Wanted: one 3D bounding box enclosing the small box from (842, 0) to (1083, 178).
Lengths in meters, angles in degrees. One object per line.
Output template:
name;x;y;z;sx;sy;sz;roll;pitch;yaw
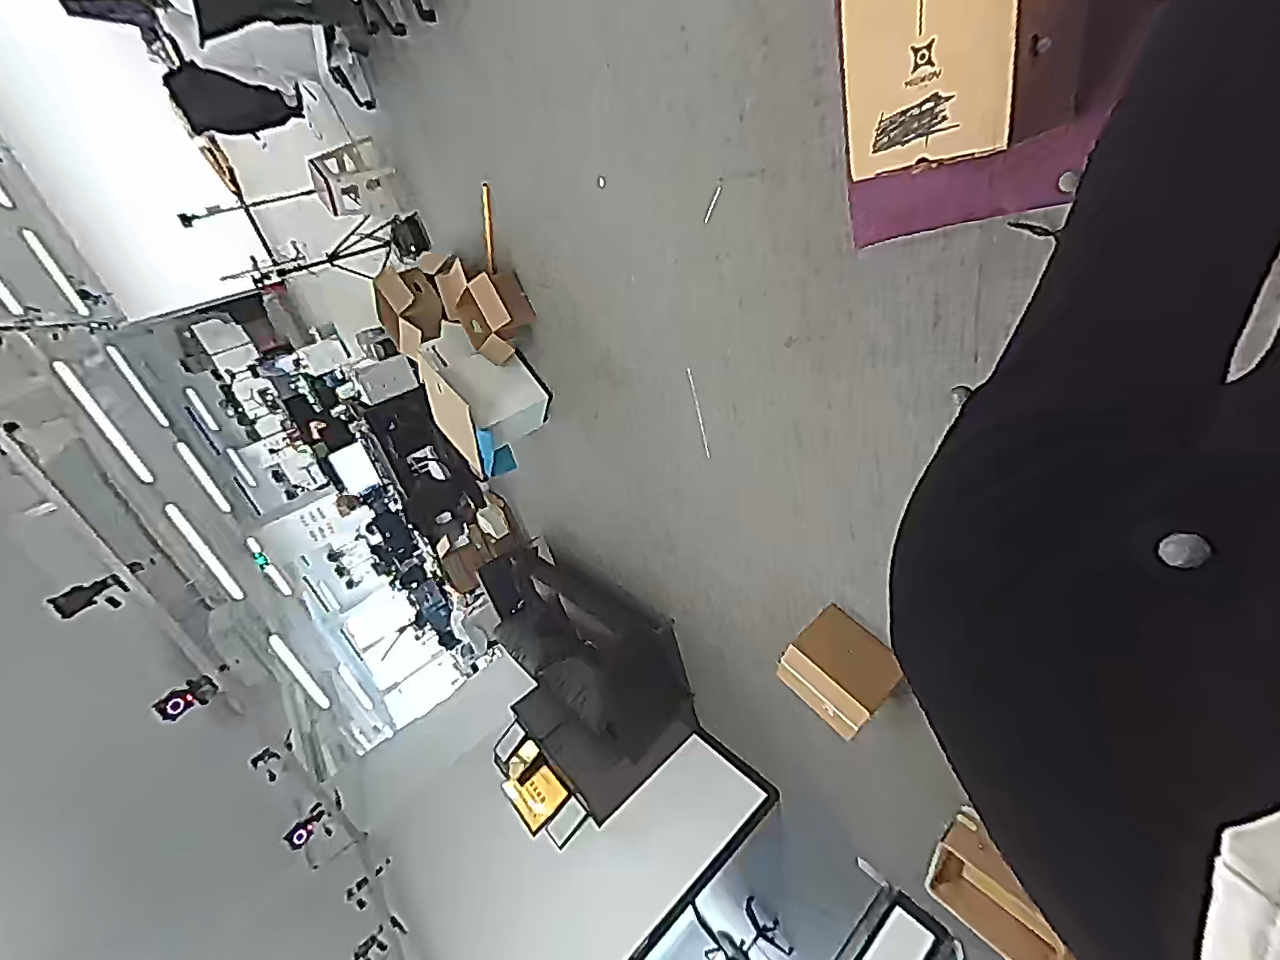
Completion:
small box;0.337;-0.443;0.567;0.168;0.176;0.179;19;133;48

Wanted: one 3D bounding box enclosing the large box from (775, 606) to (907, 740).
large box;0.875;0.842;2.389;0.408;0.320;0.320;39;147;30
